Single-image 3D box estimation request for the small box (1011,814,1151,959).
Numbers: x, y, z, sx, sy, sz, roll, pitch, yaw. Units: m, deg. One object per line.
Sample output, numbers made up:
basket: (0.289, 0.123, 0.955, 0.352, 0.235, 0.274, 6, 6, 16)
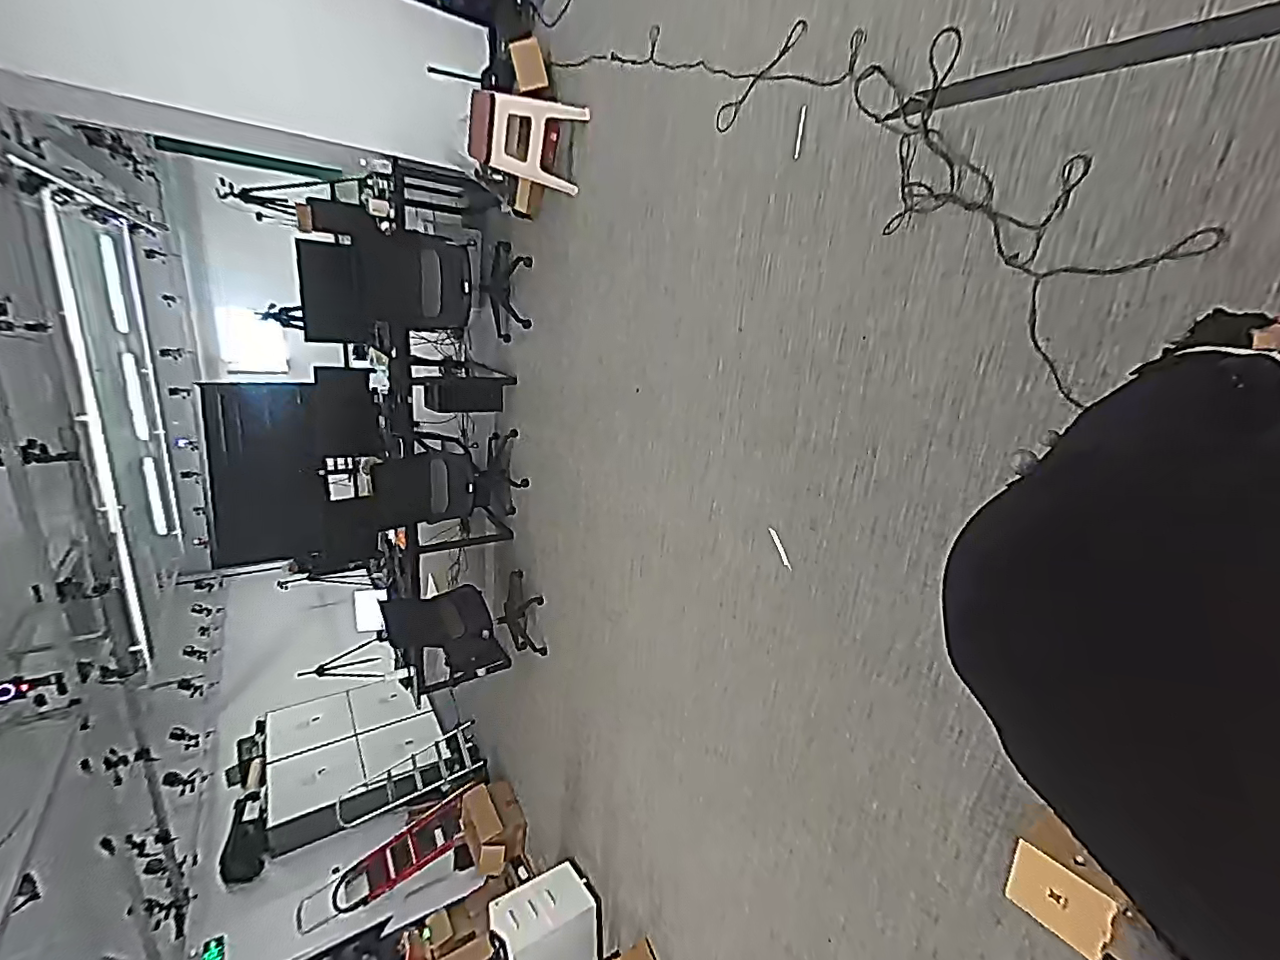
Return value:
small box: (0.955, 0.869, 1.176, 0.179, 0.176, 0.168, 21, 114, 53)
